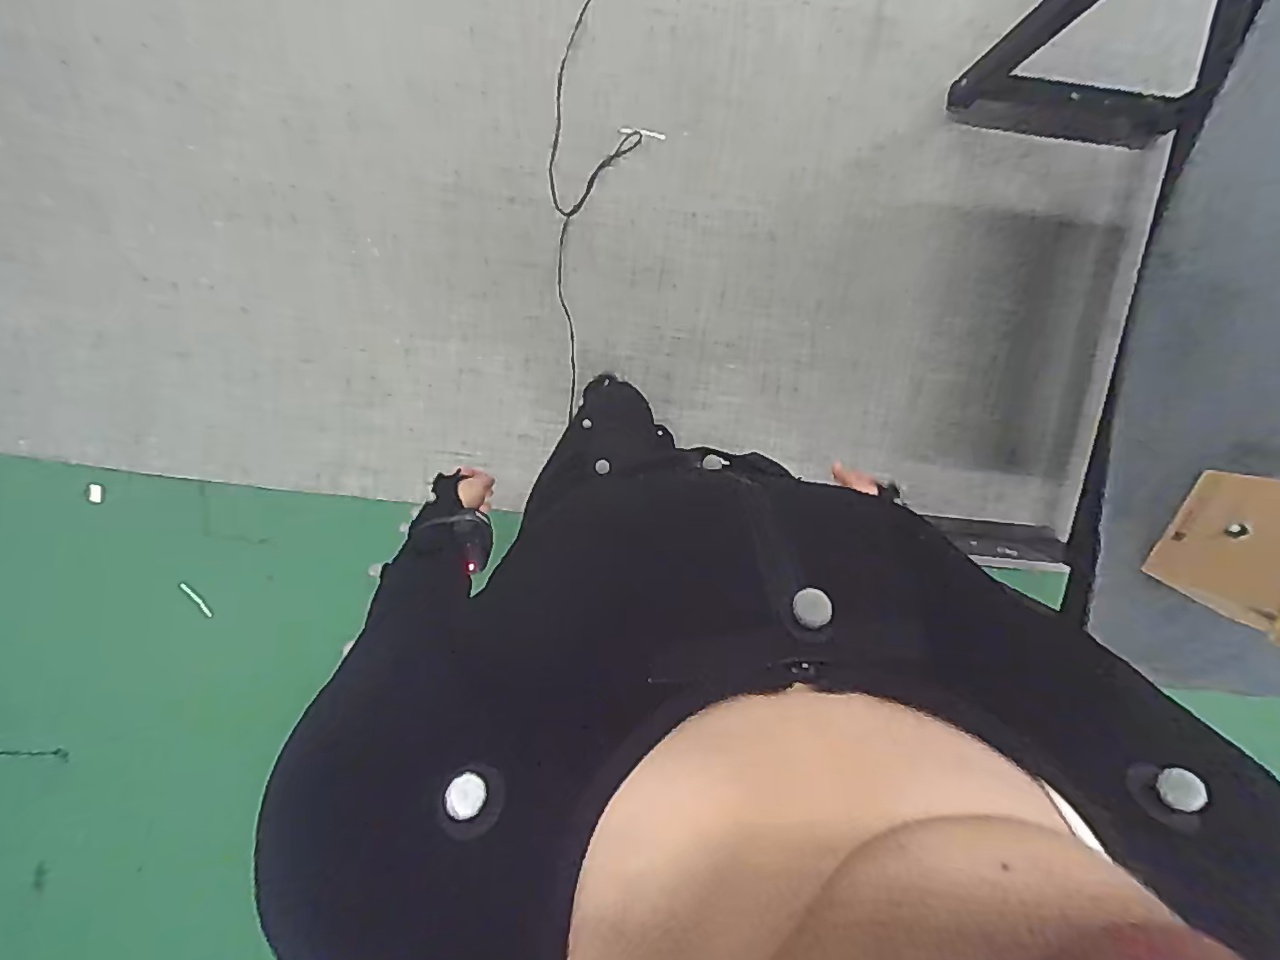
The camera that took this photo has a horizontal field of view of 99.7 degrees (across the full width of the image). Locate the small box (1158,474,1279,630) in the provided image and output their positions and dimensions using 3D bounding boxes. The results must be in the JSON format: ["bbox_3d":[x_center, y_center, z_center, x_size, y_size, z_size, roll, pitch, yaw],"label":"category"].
[{"bbox_3d":[0.839,0.103,0.689,0.179,0.176,0.168,26,98,-8],"label":"small box"}]
